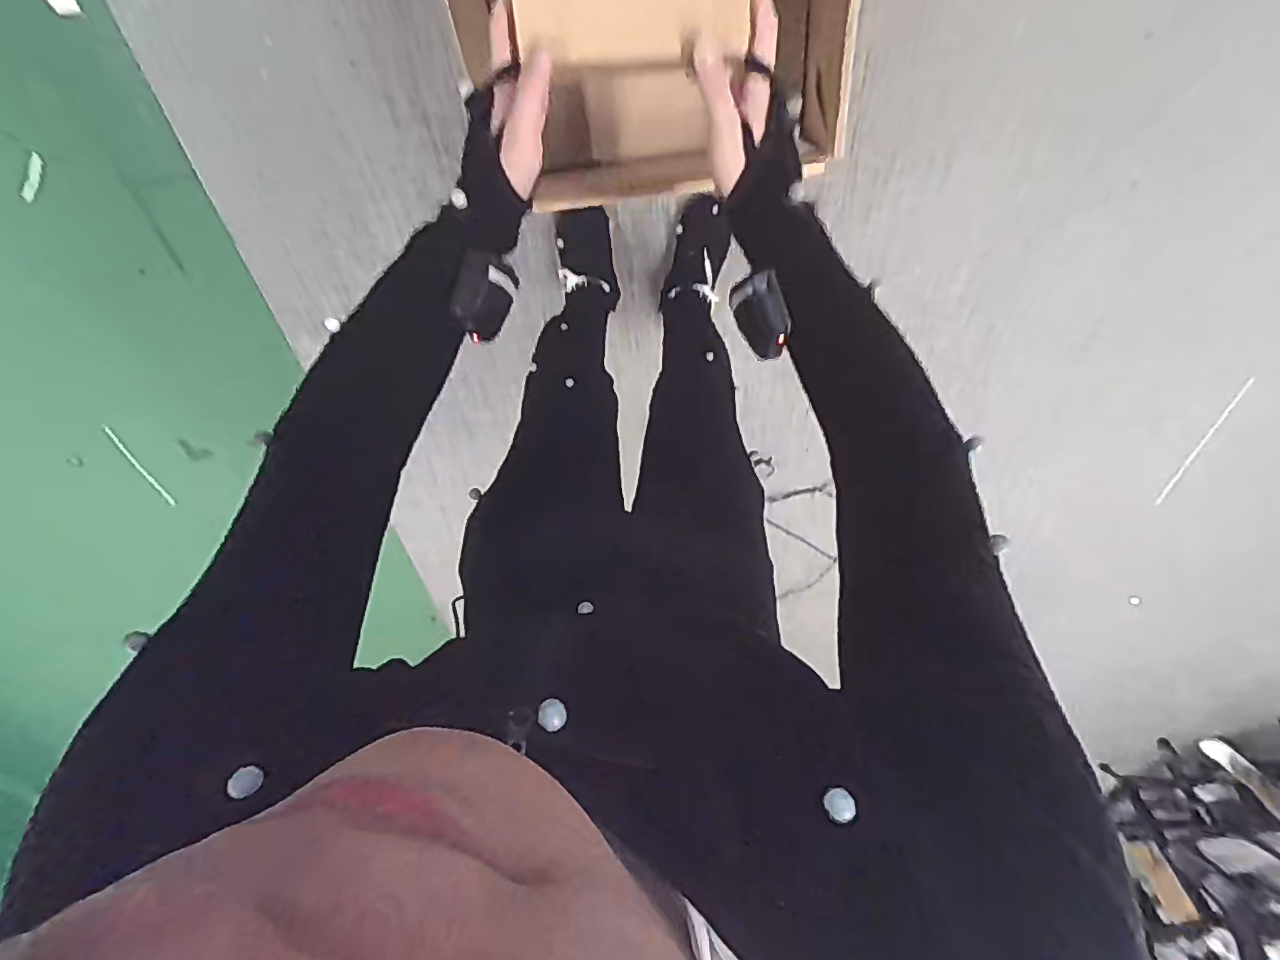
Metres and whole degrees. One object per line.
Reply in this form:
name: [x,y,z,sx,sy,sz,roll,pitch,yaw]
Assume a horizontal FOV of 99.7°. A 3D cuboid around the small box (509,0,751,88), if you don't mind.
small box: [-0.009,-0.420,0.429,0.179,0.176,0.168,-2,123,1]
